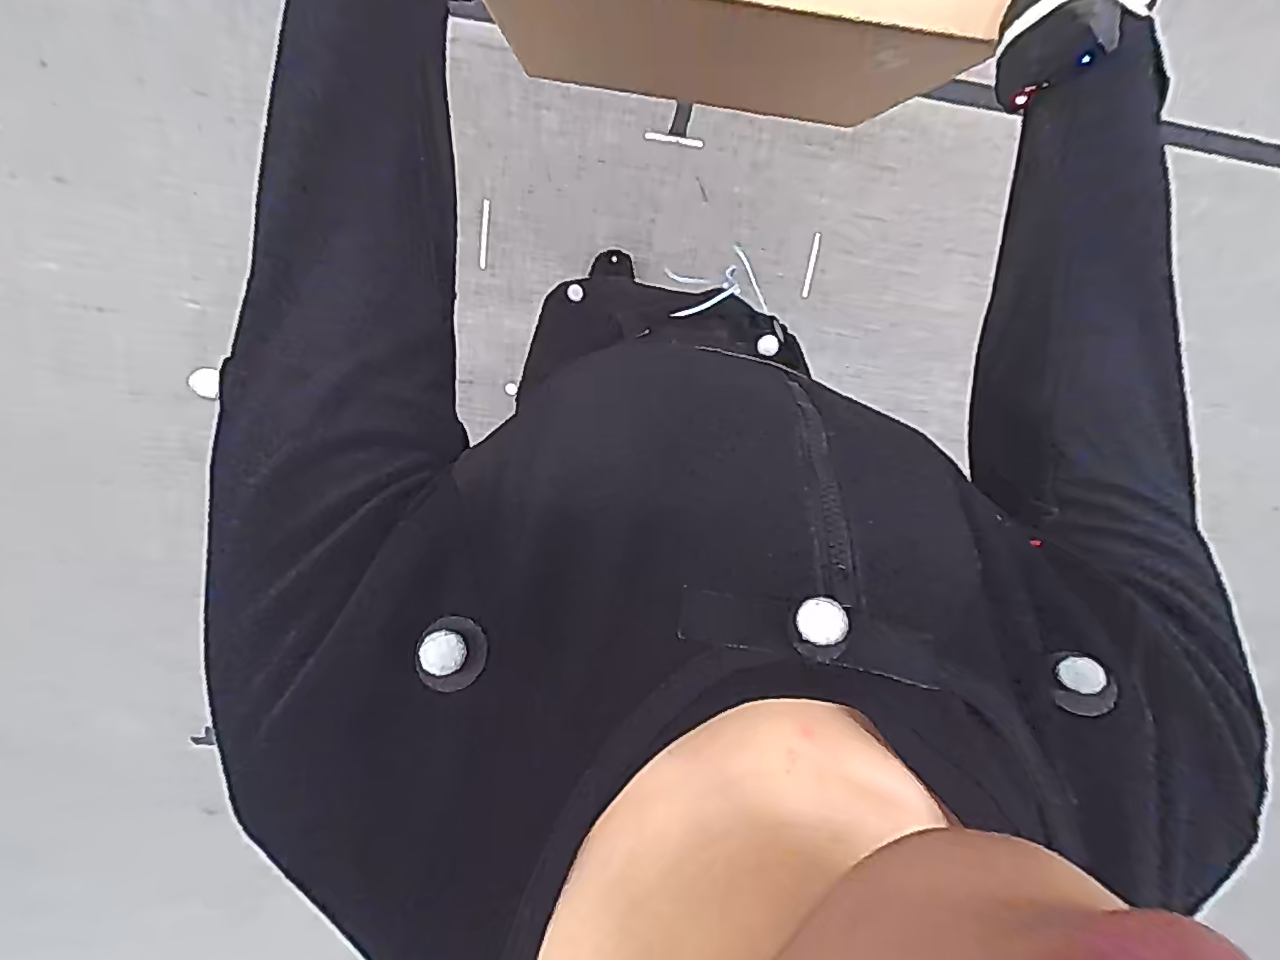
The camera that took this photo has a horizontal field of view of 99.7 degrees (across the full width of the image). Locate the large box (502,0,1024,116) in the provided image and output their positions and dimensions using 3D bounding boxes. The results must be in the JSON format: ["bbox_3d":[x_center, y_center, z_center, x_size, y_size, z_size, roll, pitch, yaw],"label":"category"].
[{"bbox_3d":[0.090,-0.544,0.457,0.408,0.320,0.320,6,115,-5],"label":"large box"}]
